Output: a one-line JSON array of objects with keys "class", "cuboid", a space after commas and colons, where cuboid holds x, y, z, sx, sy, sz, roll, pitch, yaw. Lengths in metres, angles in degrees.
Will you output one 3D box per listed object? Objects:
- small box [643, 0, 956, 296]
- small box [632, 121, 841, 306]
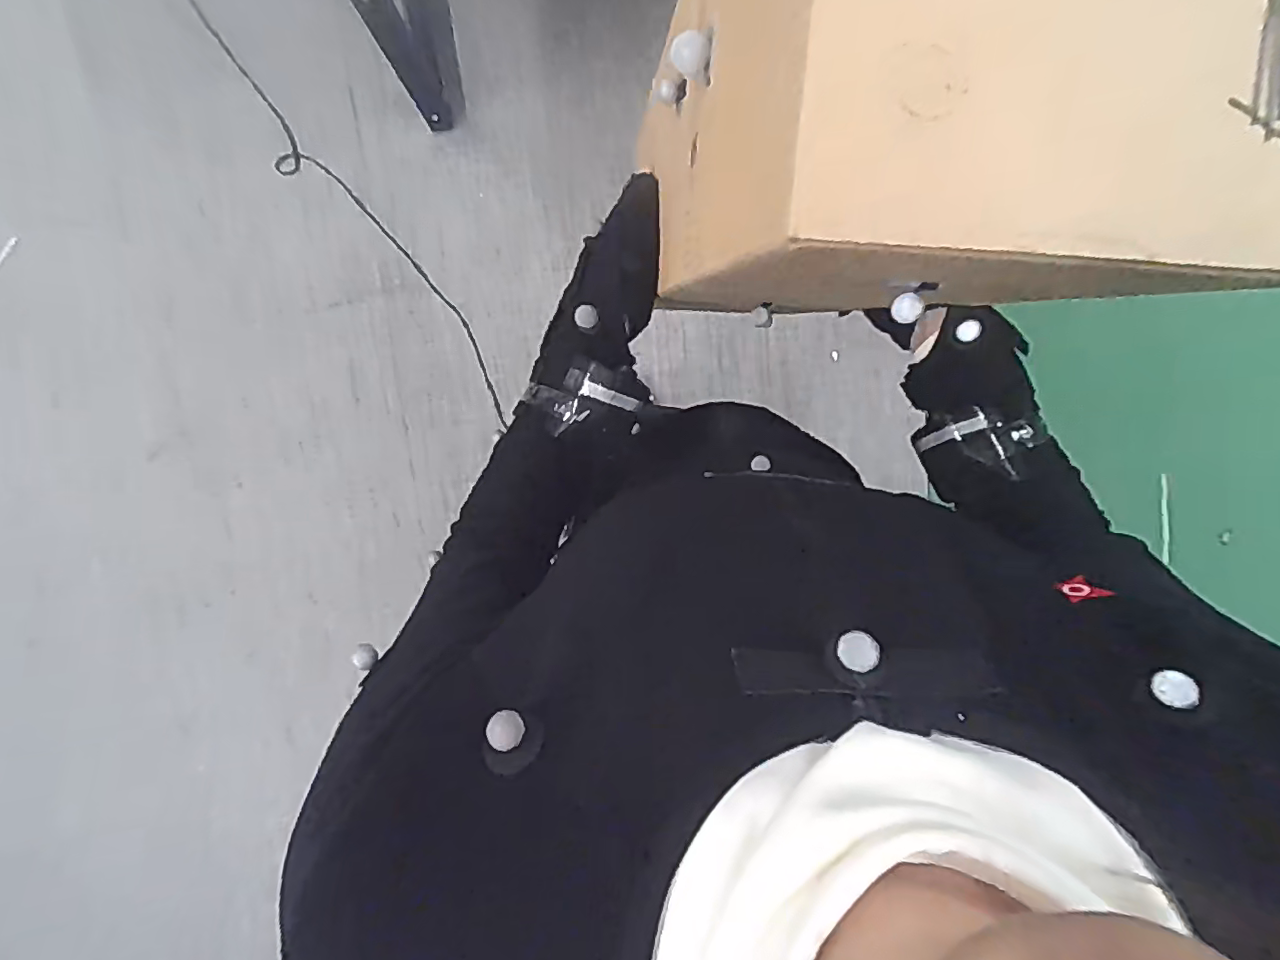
[{"class": "small box", "cuboid": [0.099, -0.216, 0.364, 0.179, 0.176, 0.168, -2, 107, -5]}, {"class": "small box", "cuboid": [0.086, -0.260, 0.519, 0.179, 0.176, 0.168, 0, 105, -4]}]
